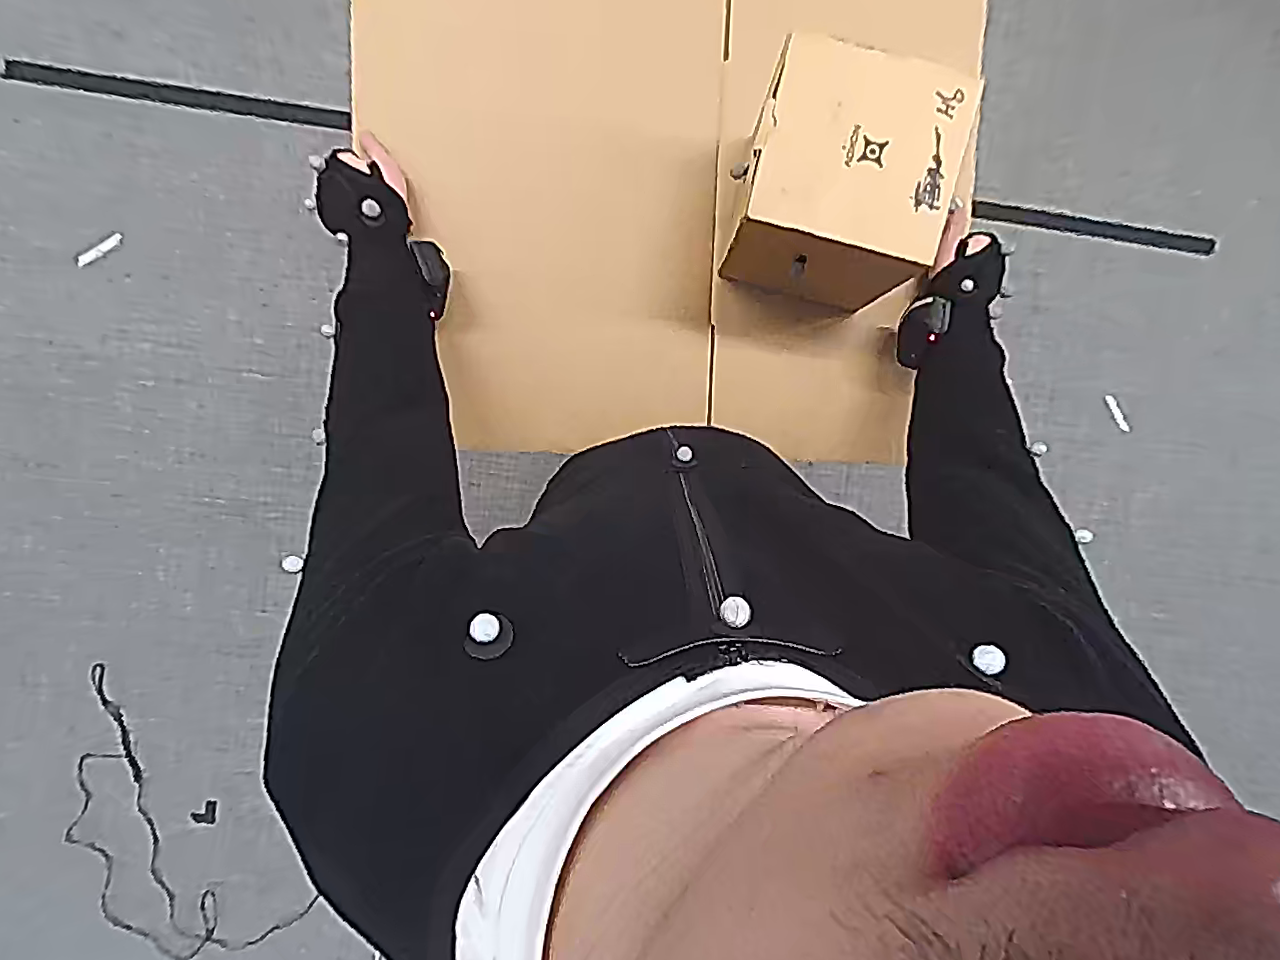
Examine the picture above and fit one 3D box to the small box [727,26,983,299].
[{"bbox_3d":[0.198,-0.303,0.556,0.179,0.176,0.168,14,94,0],"label":"small box"}]
